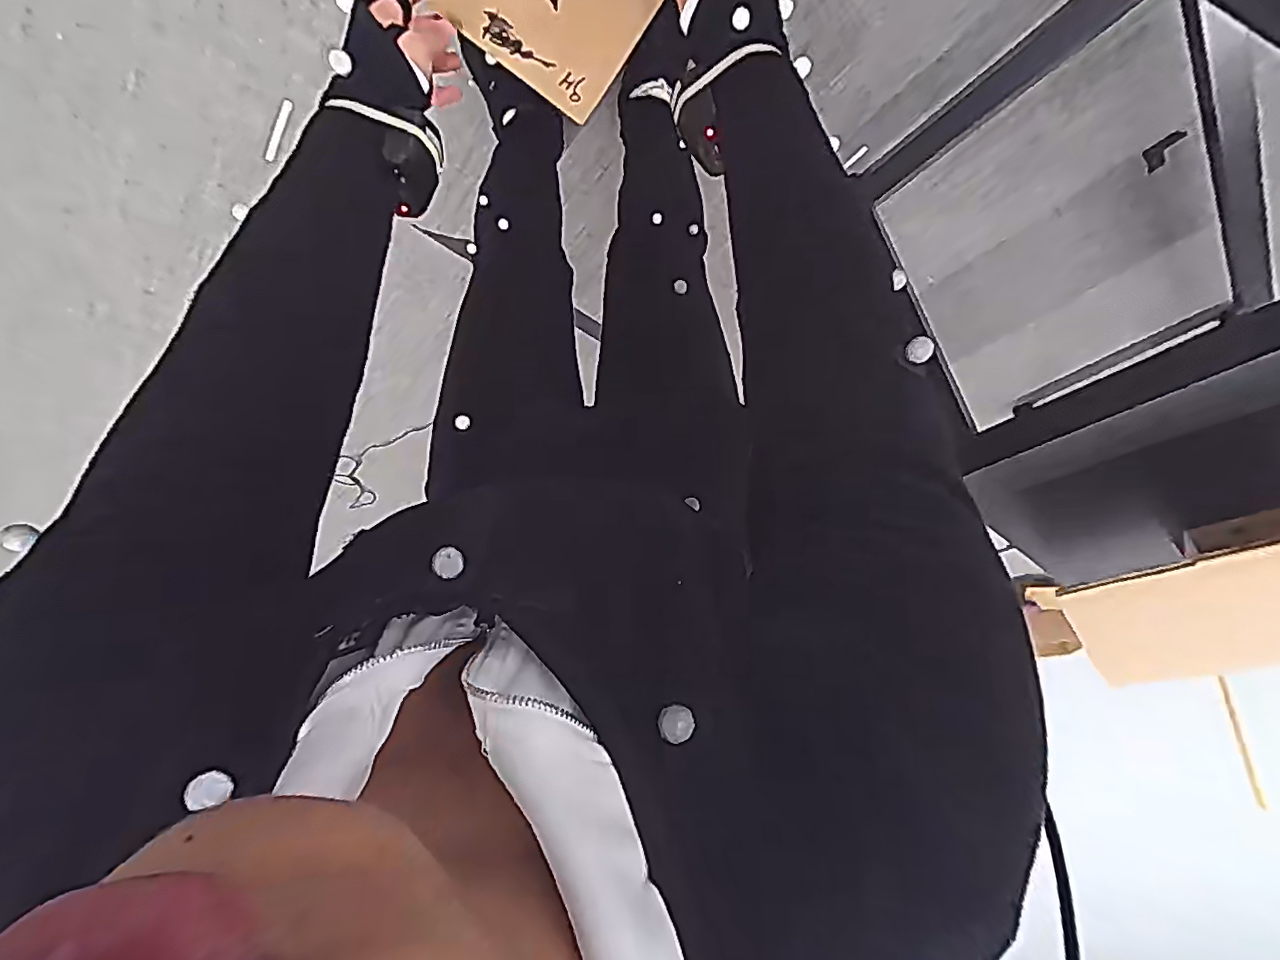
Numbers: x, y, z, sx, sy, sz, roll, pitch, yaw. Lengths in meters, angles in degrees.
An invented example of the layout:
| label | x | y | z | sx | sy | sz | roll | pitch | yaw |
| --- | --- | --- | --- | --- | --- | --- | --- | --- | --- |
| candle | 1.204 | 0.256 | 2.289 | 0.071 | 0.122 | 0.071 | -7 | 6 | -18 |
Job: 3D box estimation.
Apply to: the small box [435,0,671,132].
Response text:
| label | x | y | z | sx | sy | sz | roll | pitch | yaw |
| --- | --- | --- | --- | --- | --- | --- | --- | --- | --- |
| small box | -0.073 | -0.495 | 0.513 | 0.168 | 0.176 | 0.179 | 22 | 139 | -33 |
